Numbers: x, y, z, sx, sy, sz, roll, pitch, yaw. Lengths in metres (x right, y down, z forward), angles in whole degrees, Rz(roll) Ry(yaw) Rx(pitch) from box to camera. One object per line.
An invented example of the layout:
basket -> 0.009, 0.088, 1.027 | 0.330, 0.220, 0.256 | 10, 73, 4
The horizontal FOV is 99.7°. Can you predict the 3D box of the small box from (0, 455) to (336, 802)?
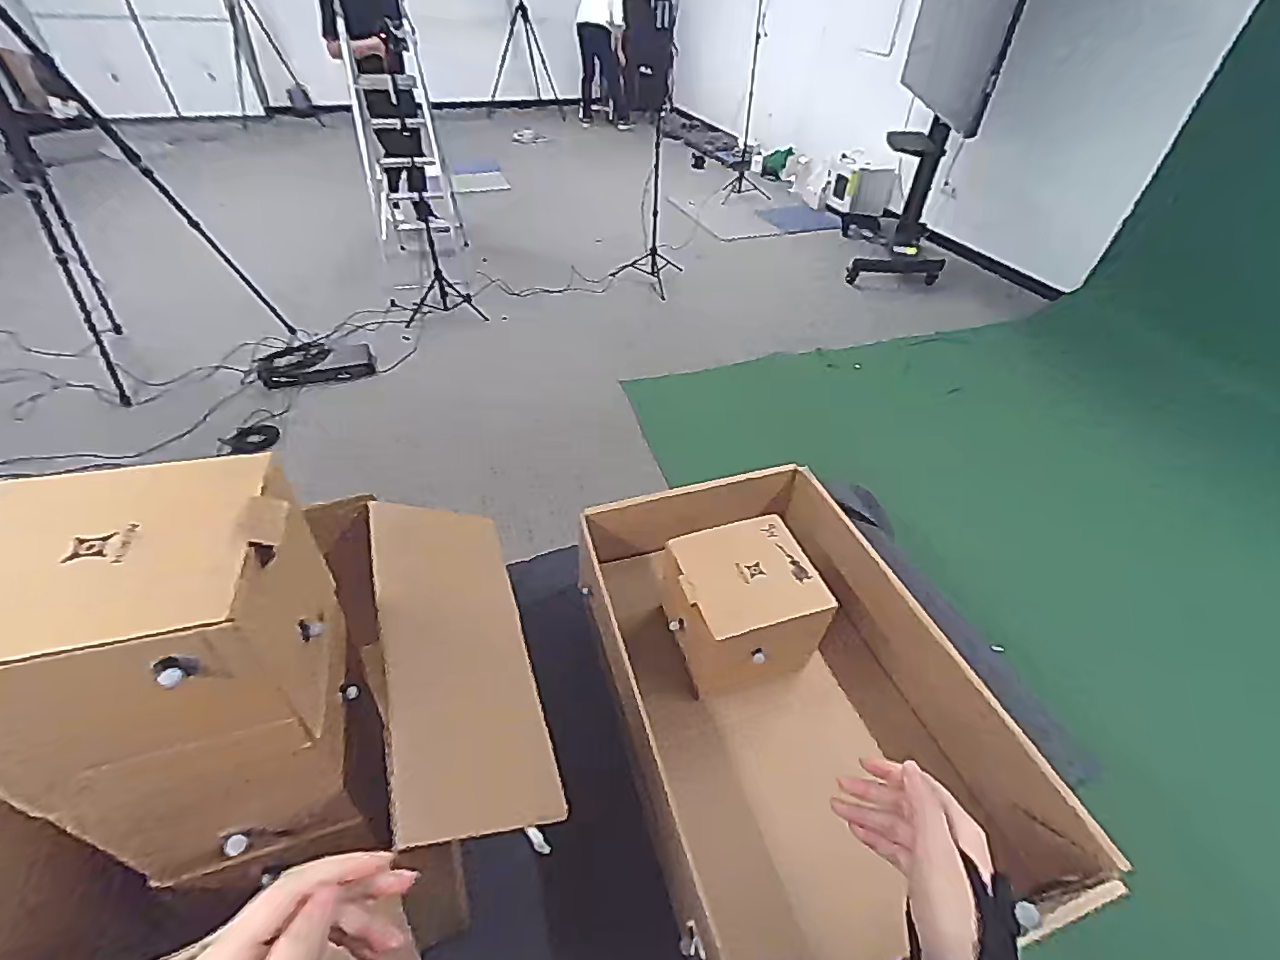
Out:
small box -> -0.349, 0.105, 0.401 | 0.179, 0.176, 0.168 | -8, 43, -19
